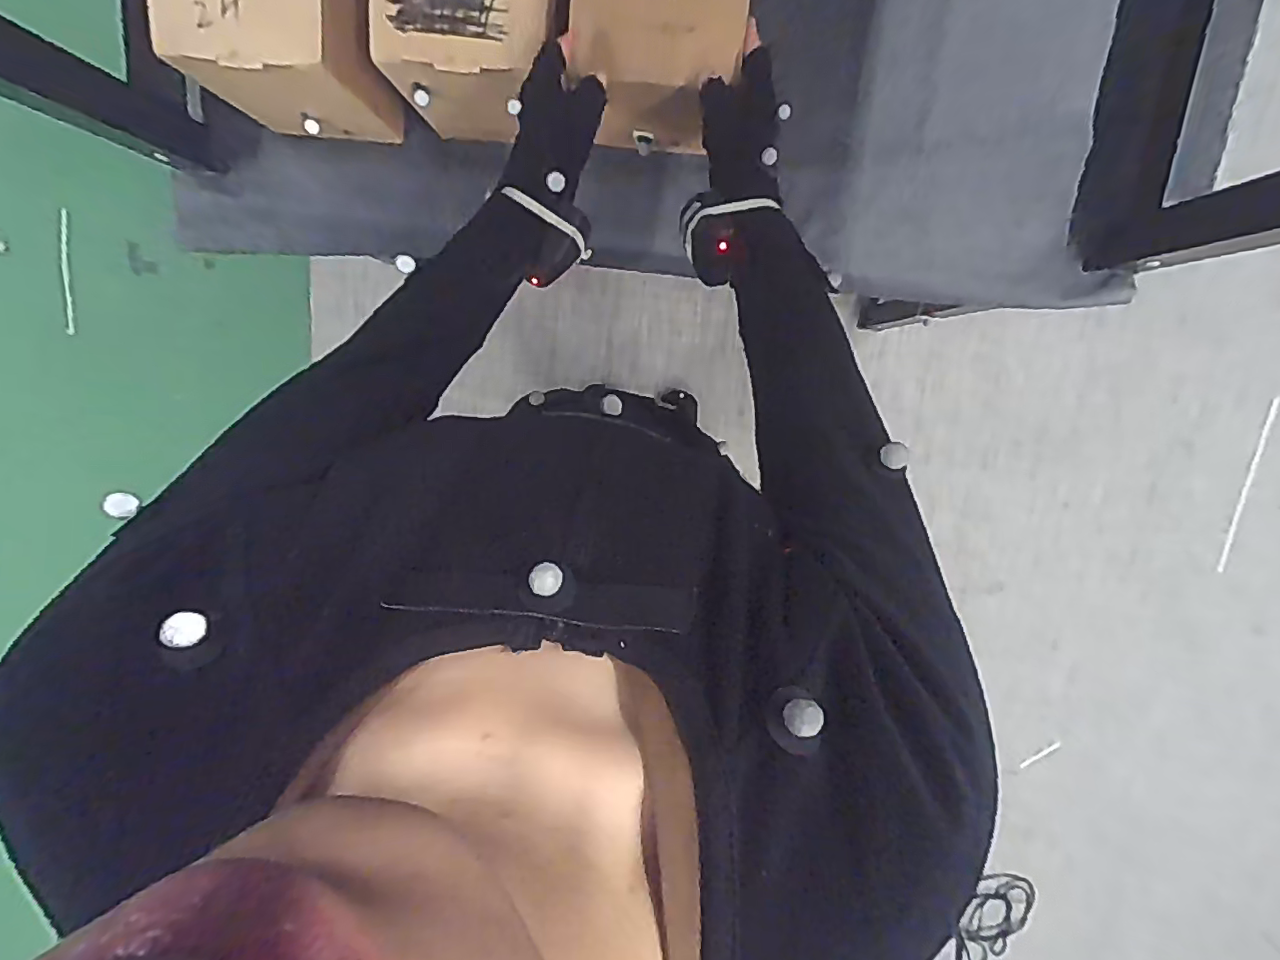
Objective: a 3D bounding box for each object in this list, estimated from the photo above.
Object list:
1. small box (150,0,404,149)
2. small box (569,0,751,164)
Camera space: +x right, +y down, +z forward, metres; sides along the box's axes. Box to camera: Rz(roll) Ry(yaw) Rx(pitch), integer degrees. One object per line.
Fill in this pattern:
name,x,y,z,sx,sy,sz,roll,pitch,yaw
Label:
small box,-0.368,-0.488,0.575,0.168,0.176,0.179,5,101,1
small box,0.024,-0.465,0.572,0.168,0.176,0.179,5,102,3
